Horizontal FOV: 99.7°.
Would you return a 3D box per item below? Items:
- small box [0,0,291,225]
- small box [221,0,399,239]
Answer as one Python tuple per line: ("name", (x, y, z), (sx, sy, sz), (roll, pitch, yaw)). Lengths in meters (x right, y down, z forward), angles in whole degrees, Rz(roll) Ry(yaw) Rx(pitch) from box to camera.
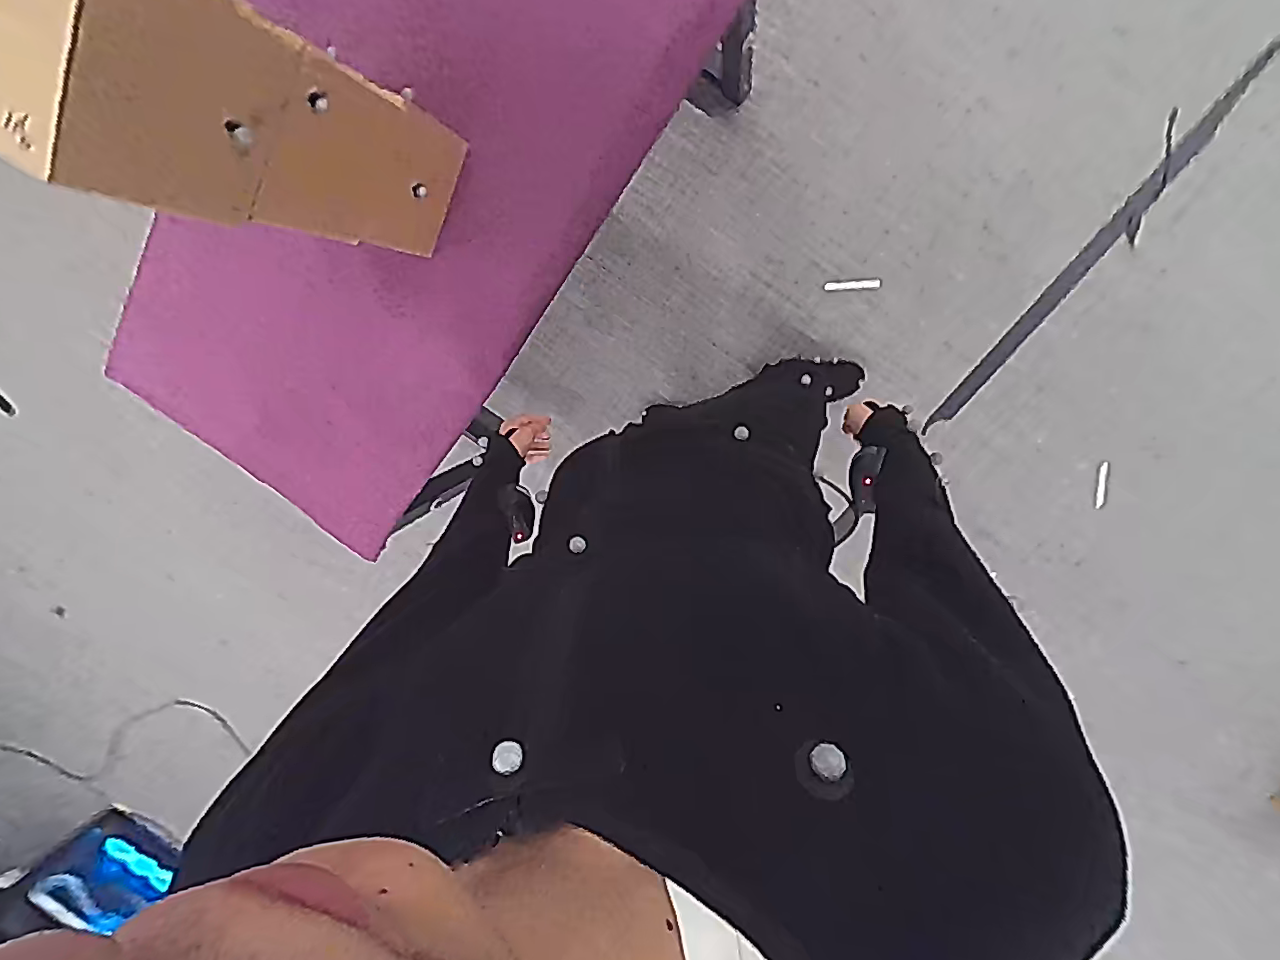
("small box", (-0.433, -0.345, 0.443), (0.168, 0.176, 0.179), (33, 107, 1))
("small box", (-0.403, -0.395, 0.597), (0.168, 0.176, 0.179), (33, 107, 0))
